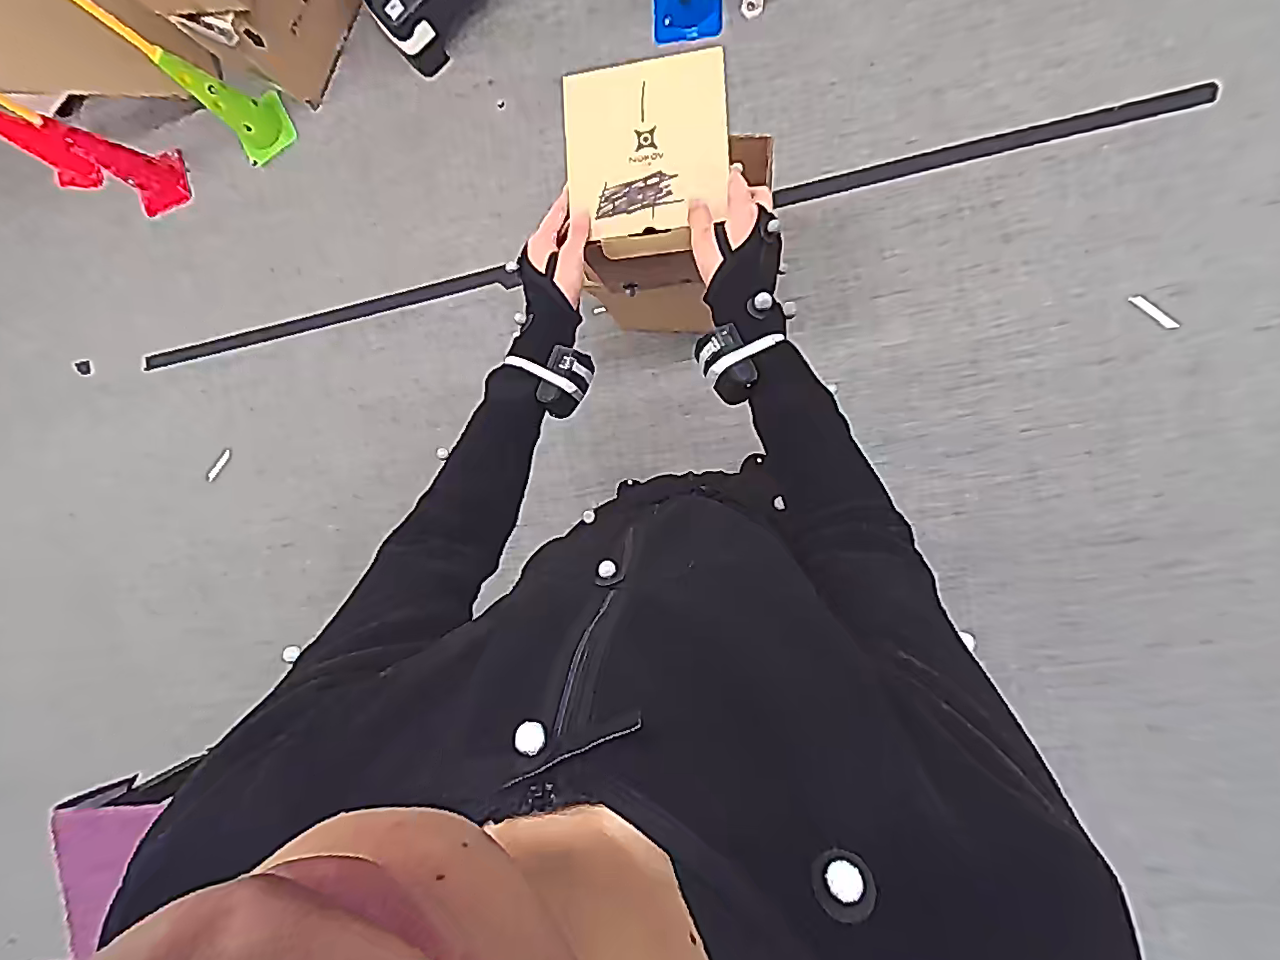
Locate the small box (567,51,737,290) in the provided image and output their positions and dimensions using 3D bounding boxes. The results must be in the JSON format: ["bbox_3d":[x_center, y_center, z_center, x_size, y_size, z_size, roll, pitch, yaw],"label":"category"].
[{"bbox_3d":[0.024,-0.332,0.624,0.168,0.176,0.179,-4,90,11],"label":"small box"}]
